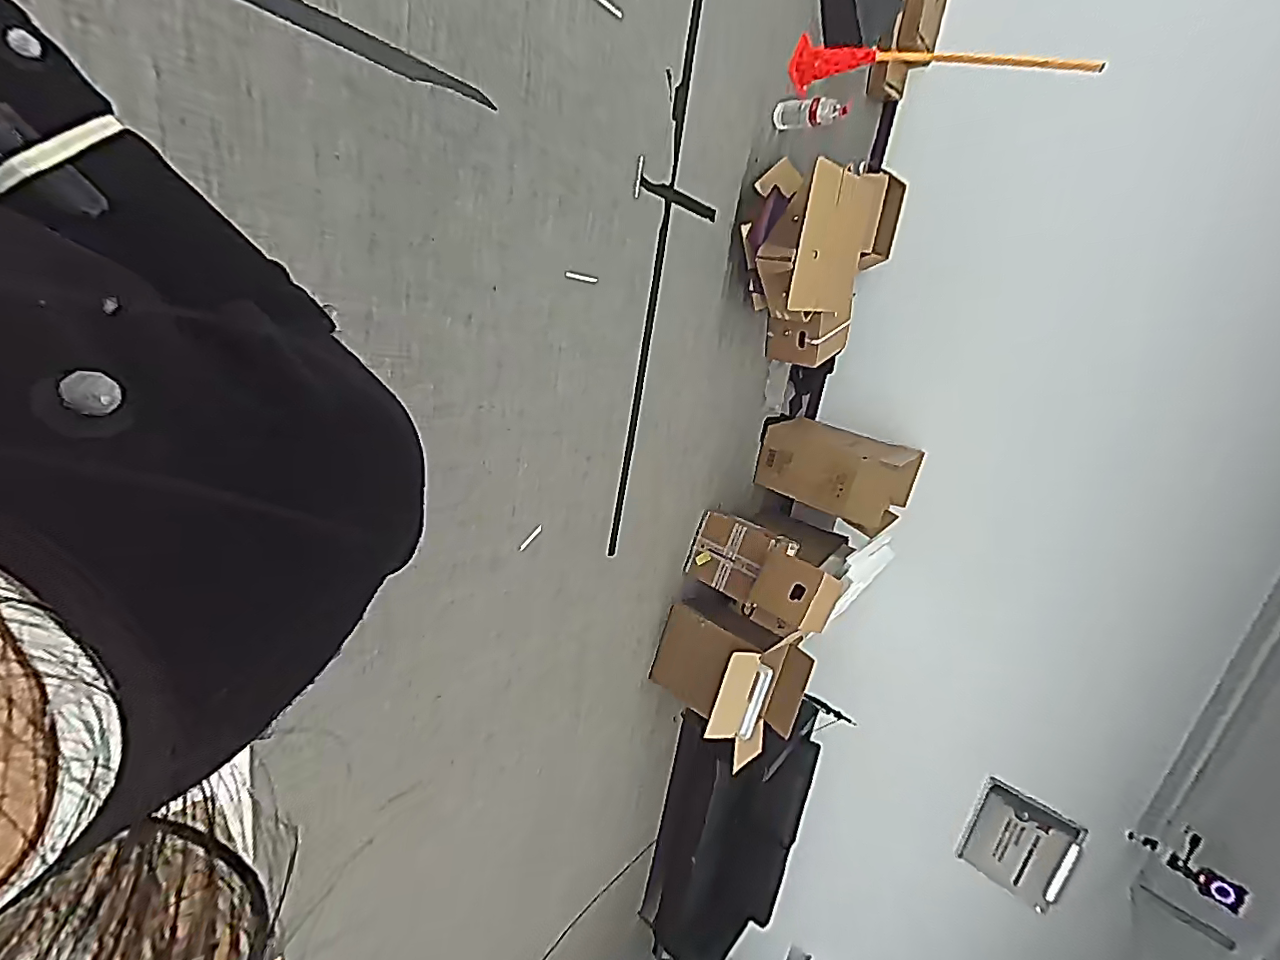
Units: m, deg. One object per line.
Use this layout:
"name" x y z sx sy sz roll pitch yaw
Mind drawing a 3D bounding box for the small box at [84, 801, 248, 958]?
"small box" -0.732 0.656 0.845 0.168 0.176 0.179 -13 118 -49

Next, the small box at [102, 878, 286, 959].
"small box" -0.611 0.705 0.748 0.168 0.176 0.179 -12 118 -49
